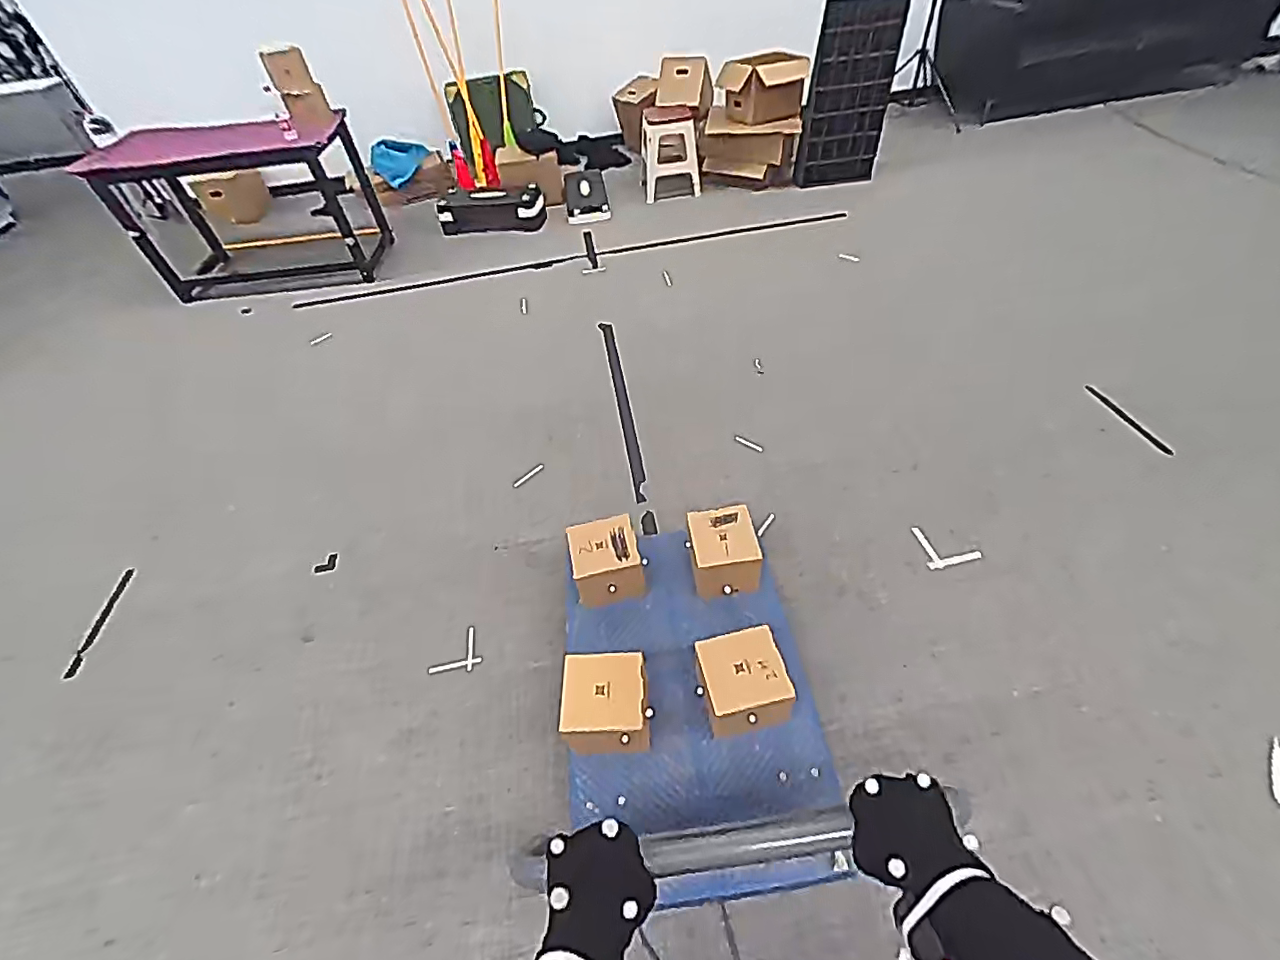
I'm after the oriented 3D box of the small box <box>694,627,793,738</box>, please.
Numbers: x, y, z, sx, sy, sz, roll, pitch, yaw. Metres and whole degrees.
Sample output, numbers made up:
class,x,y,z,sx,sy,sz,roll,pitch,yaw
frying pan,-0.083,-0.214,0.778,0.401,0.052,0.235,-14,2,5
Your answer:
class,x,y,z,sx,sy,sz,roll,pitch,yaw
small box,0.229,0.464,1.229,0.179,0.176,0.168,-12,48,-4

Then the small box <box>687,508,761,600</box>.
class,x,y,z,sx,sy,sz,roll,pitch,yaw
small box,0.221,0.201,1.464,0.168,0.176,0.179,-8,49,0

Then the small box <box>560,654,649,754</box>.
class,x,y,z,sx,sy,sz,roll,pitch,yaw
small box,-0.074,0.511,1.226,0.179,0.176,0.168,-3,48,2
